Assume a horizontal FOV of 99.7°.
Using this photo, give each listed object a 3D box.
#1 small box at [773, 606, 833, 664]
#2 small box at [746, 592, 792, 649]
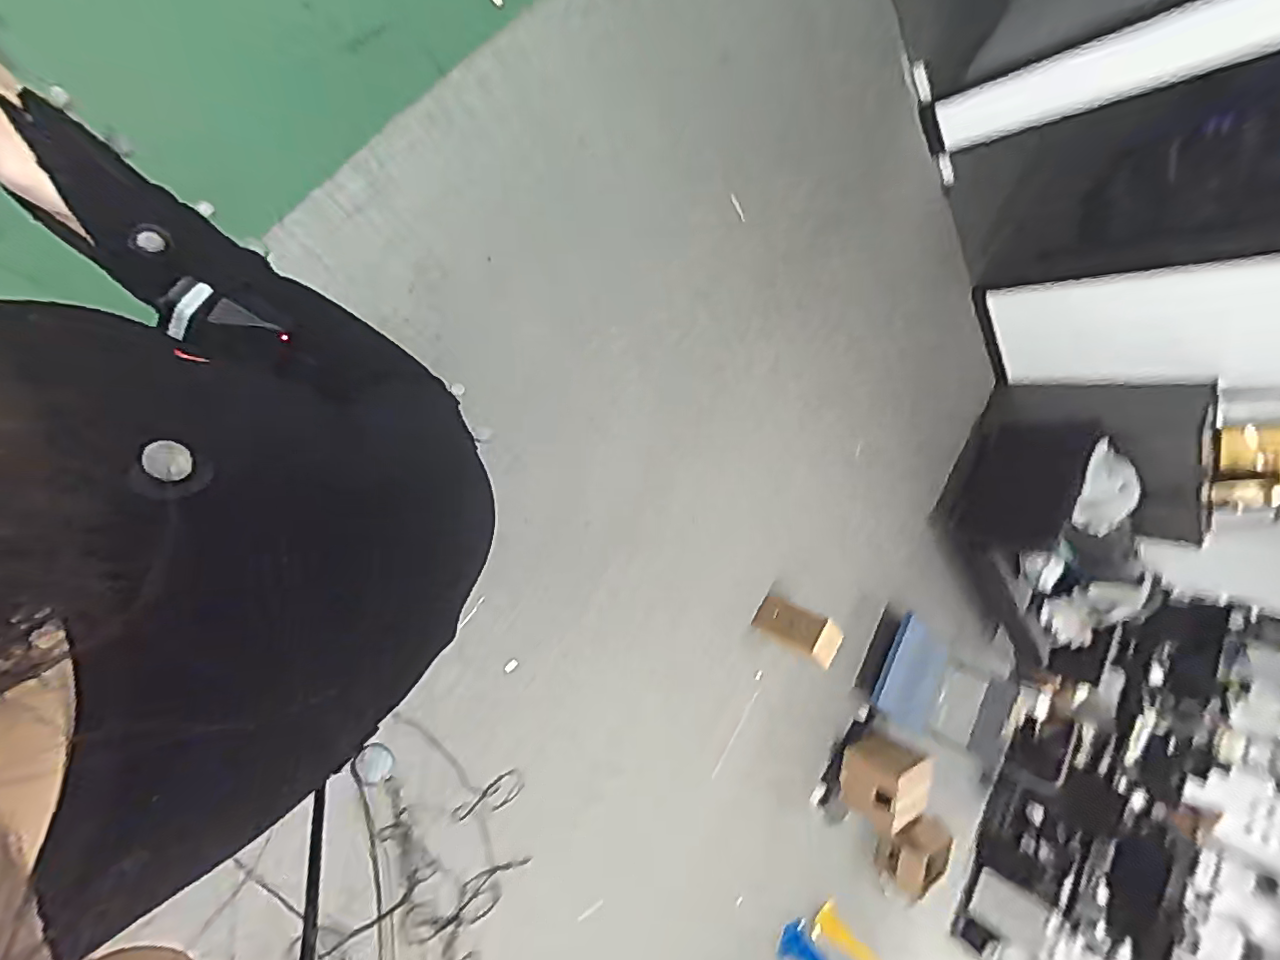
[{"bbox_3d":[0.719,0.681,2.395,0.168,0.176,0.179,-54,127,-18],"label":"small box"},{"bbox_3d":[0.617,0.651,2.522,0.168,0.176,0.179,48,67,-35],"label":"small box"}]
